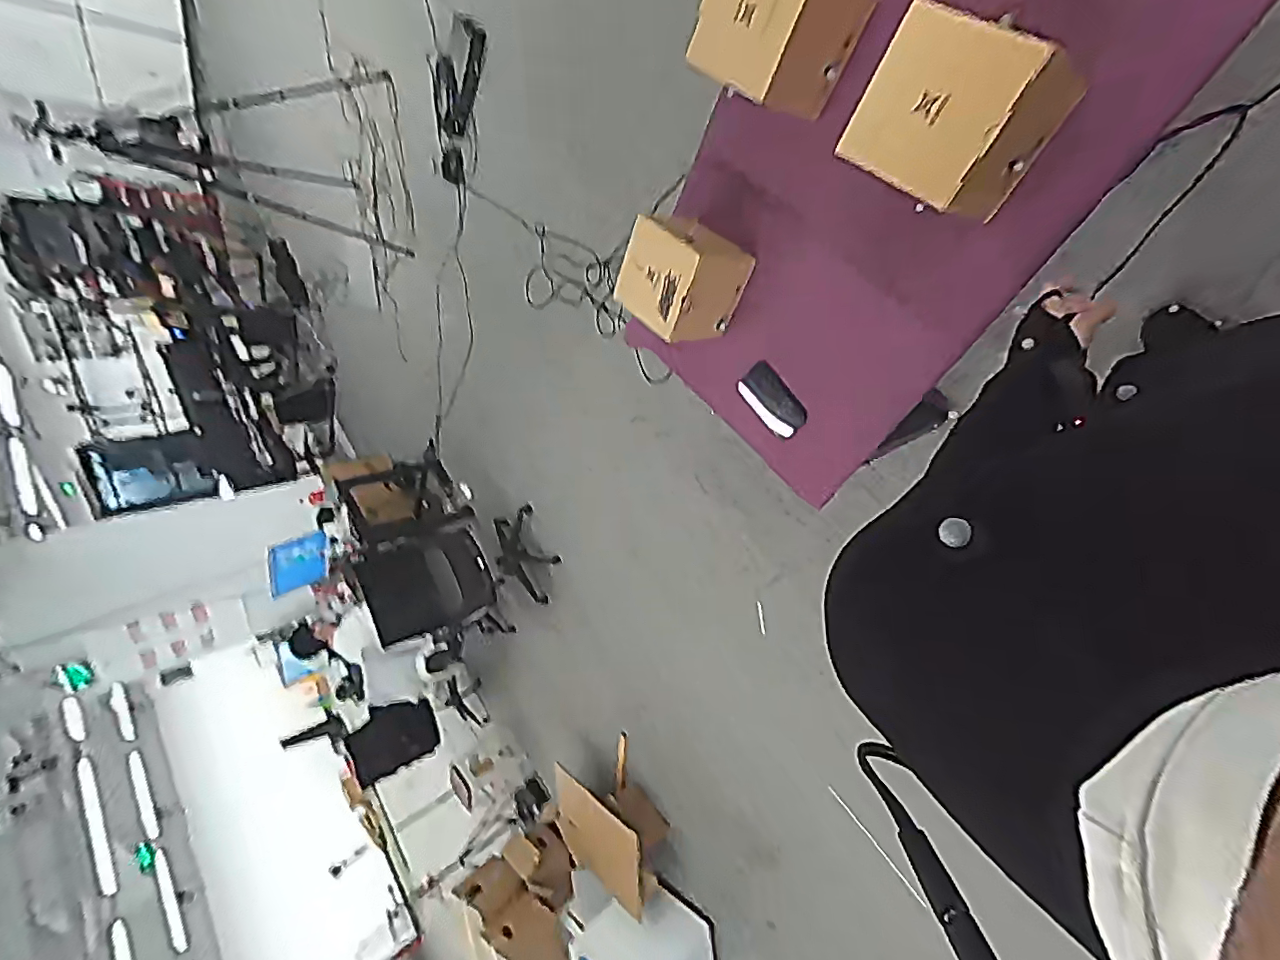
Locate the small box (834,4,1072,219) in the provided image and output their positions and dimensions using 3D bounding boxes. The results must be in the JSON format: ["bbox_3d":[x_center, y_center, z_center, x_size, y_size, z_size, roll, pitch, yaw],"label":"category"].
[{"bbox_3d":[0.394,-0.453,0.688,0.179,0.176,0.168,48,132,26],"label":"small box"}]

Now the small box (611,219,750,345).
[{"bbox_3d":[0.079,-0.383,1.046,0.179,0.176,0.168,46,132,27],"label":"small box"}]

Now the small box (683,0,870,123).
[{"bbox_3d":[0.204,-0.672,0.818,0.179,0.176,0.168,48,134,24],"label":"small box"}]
